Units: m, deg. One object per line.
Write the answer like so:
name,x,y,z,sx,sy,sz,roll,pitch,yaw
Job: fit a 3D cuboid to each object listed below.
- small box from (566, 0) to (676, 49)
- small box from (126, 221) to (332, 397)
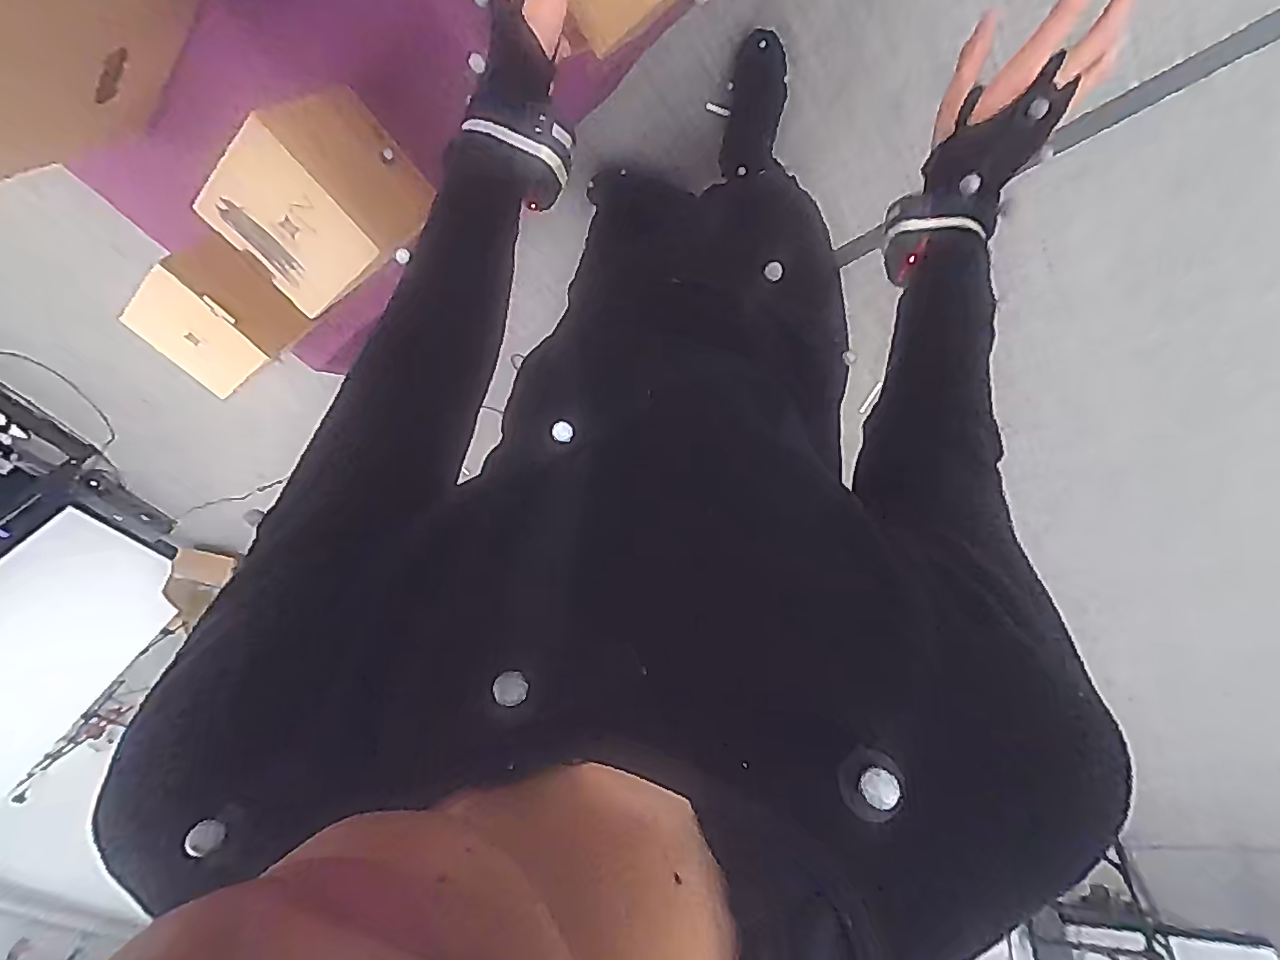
small box,-0.001,-0.486,0.415,0.168,0.176,0.179,-19,126,33
small box,-0.629,-0.265,0.846,0.179,0.176,0.168,-20,125,32
